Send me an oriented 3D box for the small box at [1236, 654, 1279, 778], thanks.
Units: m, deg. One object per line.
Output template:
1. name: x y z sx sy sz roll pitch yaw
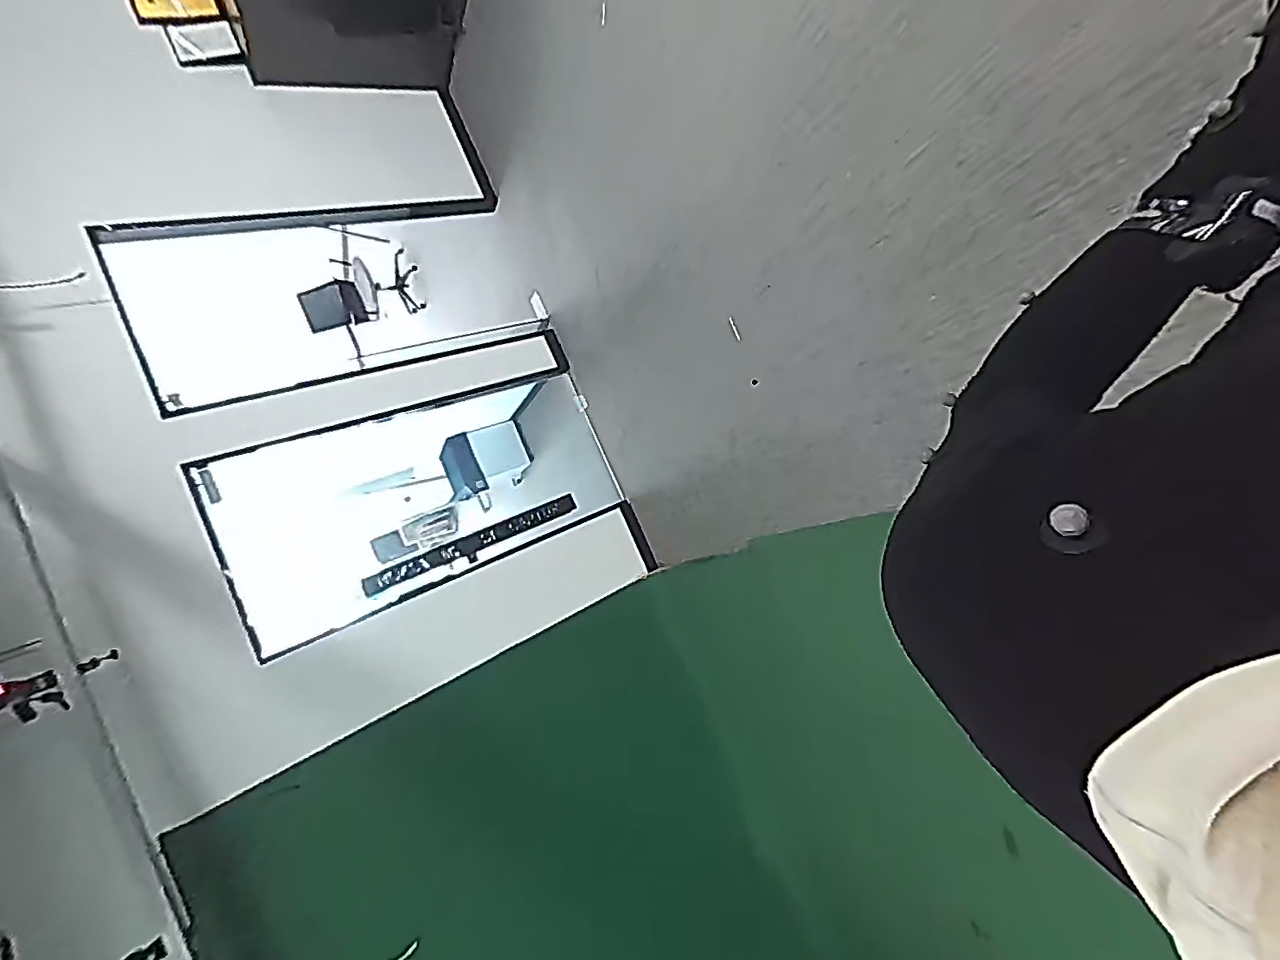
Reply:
1. small box: 1.291 0.460 1.024 0.168 0.176 0.179 -16 95 60

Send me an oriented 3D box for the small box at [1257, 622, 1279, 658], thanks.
1. small box: 1.426 0.409 1.104 0.168 0.176 0.179 -20 92 60
